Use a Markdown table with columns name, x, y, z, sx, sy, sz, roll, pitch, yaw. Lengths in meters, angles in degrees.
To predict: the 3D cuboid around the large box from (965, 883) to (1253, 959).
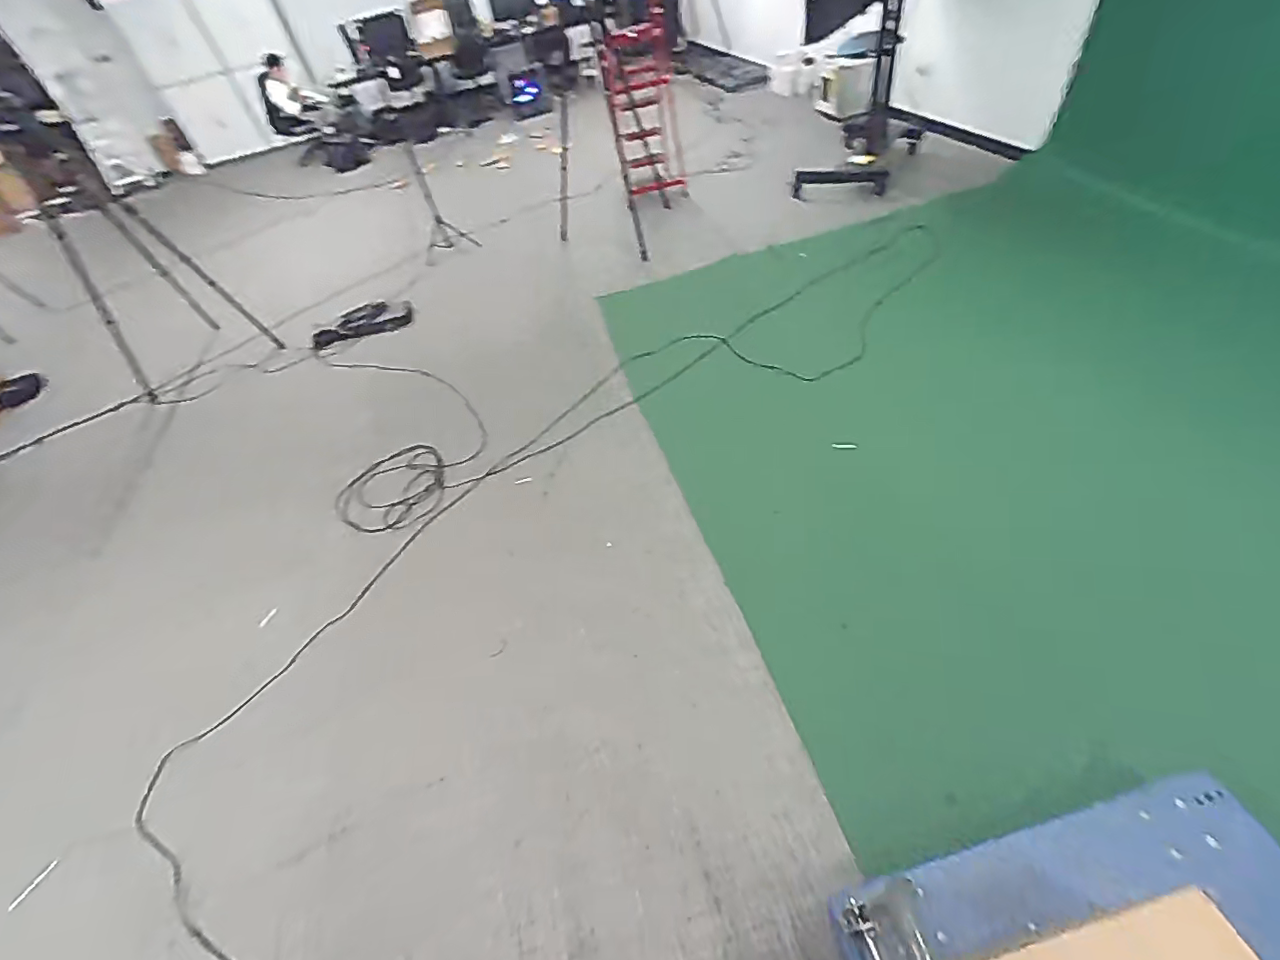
| name | x | y | z | sx | sy | sz | roll | pitch | yaw |
| --- | --- | --- | --- | --- | --- | --- | --- | --- | --- |
| large box | 0.719 | 0.882 | 0.821 | 0.408 | 0.320 | 0.320 | -16 | 46 | -3 |
